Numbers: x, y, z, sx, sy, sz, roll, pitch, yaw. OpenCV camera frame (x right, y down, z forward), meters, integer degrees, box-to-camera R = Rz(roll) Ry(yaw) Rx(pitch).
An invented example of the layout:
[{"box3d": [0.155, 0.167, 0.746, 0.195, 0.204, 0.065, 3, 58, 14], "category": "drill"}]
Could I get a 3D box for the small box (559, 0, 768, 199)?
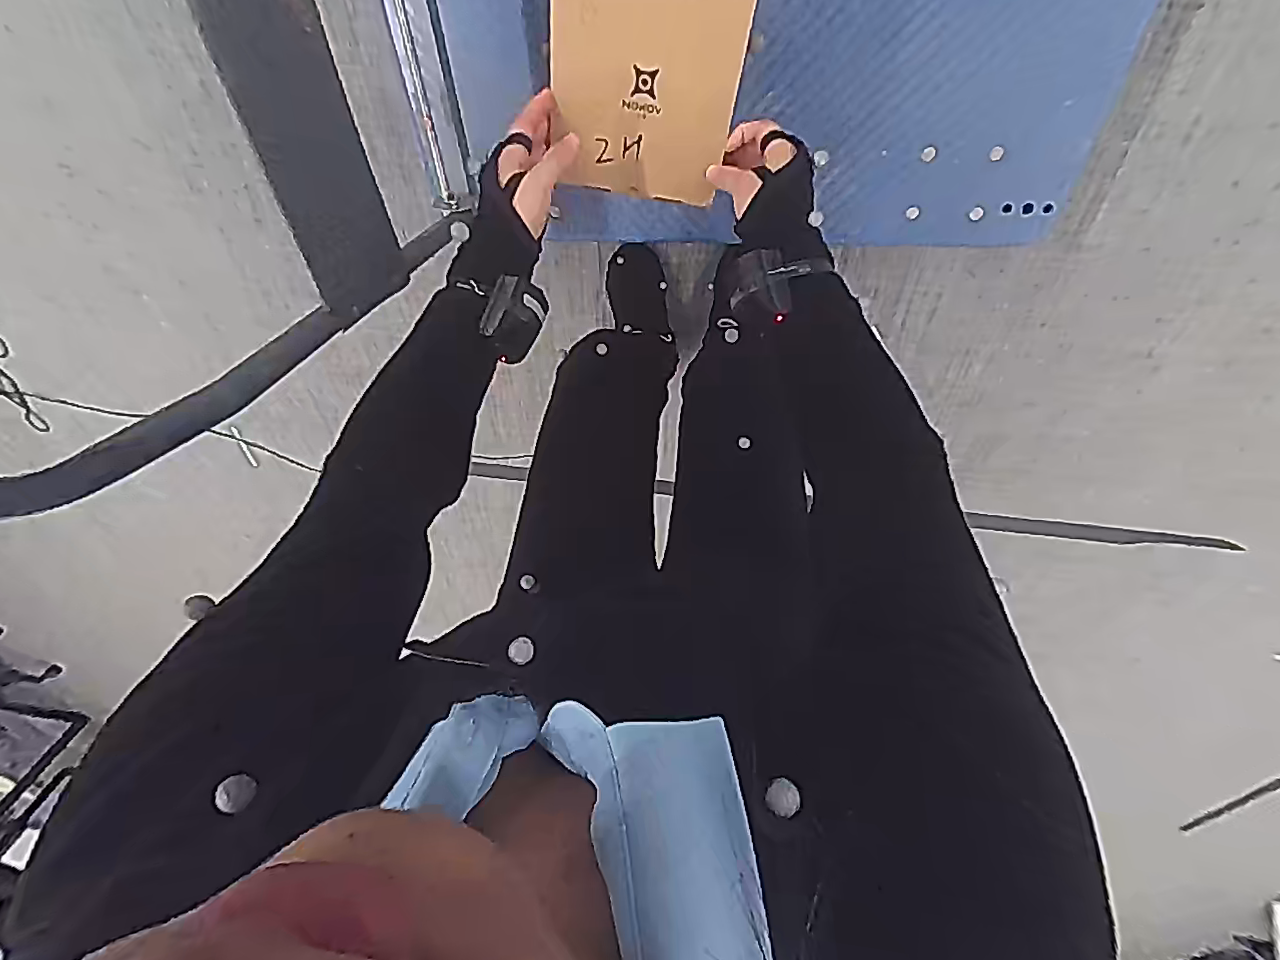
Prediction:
[{"box3d": [0.018, -0.409, 0.527, 0.168, 0.176, 0.179, 9, 139, -2], "category": "small box"}]
